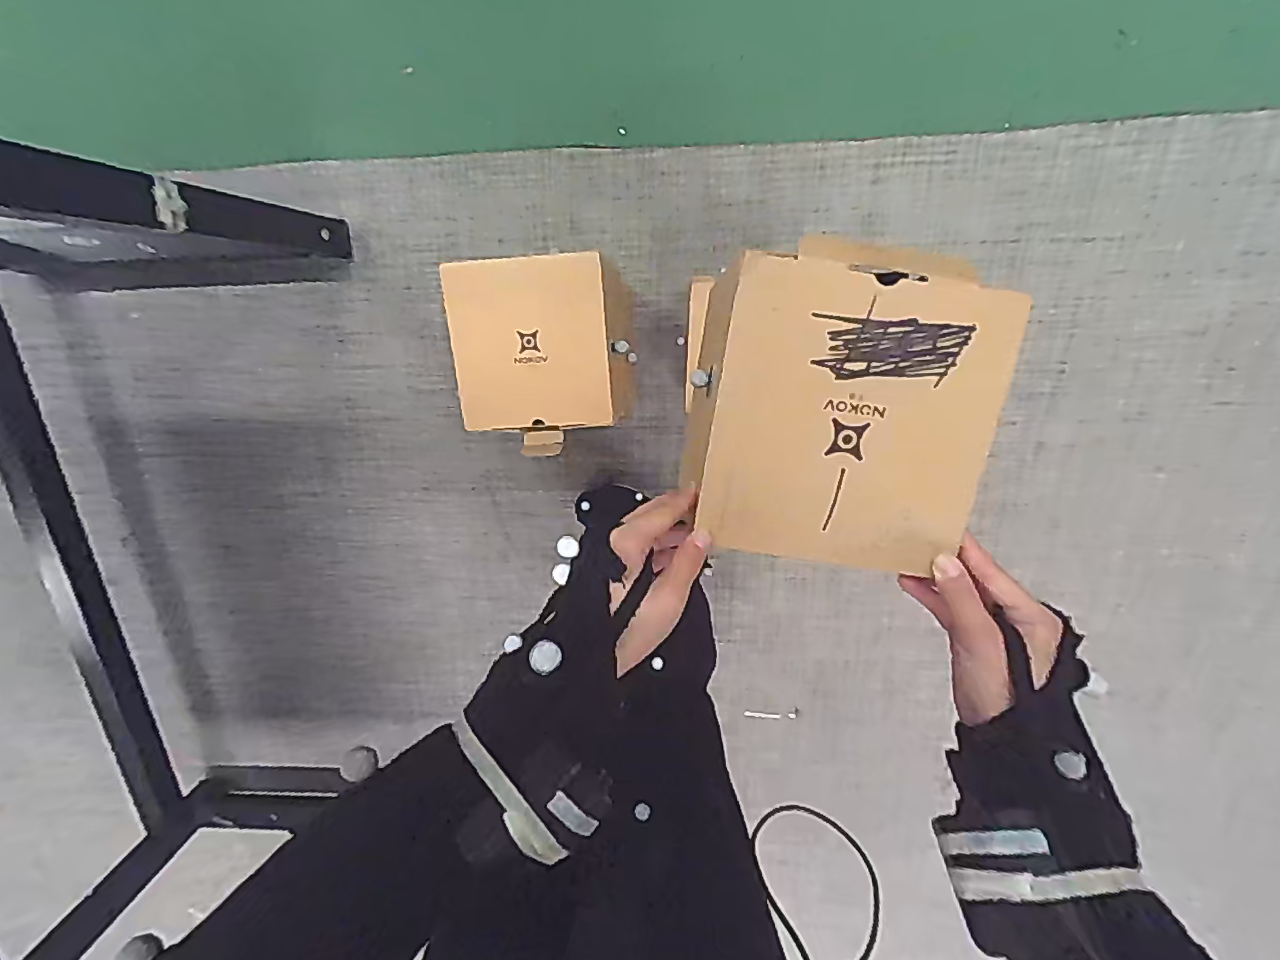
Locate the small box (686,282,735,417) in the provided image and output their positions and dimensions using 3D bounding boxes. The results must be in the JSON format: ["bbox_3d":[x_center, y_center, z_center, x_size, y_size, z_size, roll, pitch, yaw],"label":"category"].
[{"bbox_3d":[0.153,-0.190,0.783,0.168,0.176,0.179,2,109,5],"label":"small box"}]

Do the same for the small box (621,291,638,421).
[{"bbox_3d":[-0.094,-0.187,0.801,0.168,0.176,0.179,-1,107,6],"label":"small box"}]

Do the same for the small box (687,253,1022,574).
[{"bbox_3d":[0.130,-0.051,0.404,0.168,0.176,0.179,8,102,0],"label":"small box"}]

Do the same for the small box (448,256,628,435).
[{"bbox_3d":[-0.105,-0.158,0.638,0.168,0.176,0.179,-3,107,4],"label":"small box"}]
